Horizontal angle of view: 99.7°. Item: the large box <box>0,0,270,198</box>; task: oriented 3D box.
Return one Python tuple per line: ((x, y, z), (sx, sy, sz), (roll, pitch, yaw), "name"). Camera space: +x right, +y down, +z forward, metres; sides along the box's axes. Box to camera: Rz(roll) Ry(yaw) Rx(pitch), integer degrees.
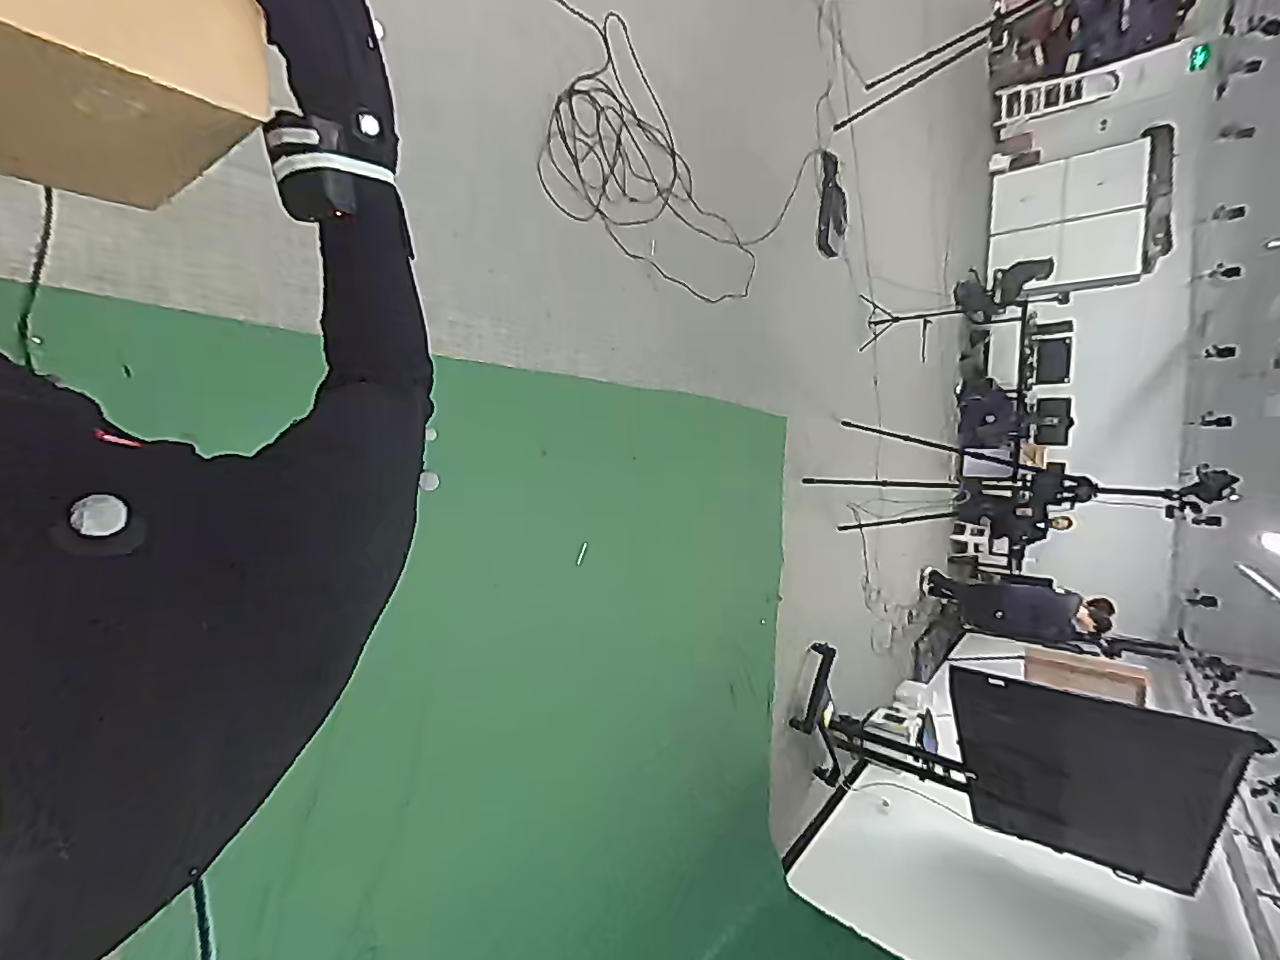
((-0.495, -0.404, 0.294), (0.408, 0.320, 0.320), (-7, 102, -51), "large box")
